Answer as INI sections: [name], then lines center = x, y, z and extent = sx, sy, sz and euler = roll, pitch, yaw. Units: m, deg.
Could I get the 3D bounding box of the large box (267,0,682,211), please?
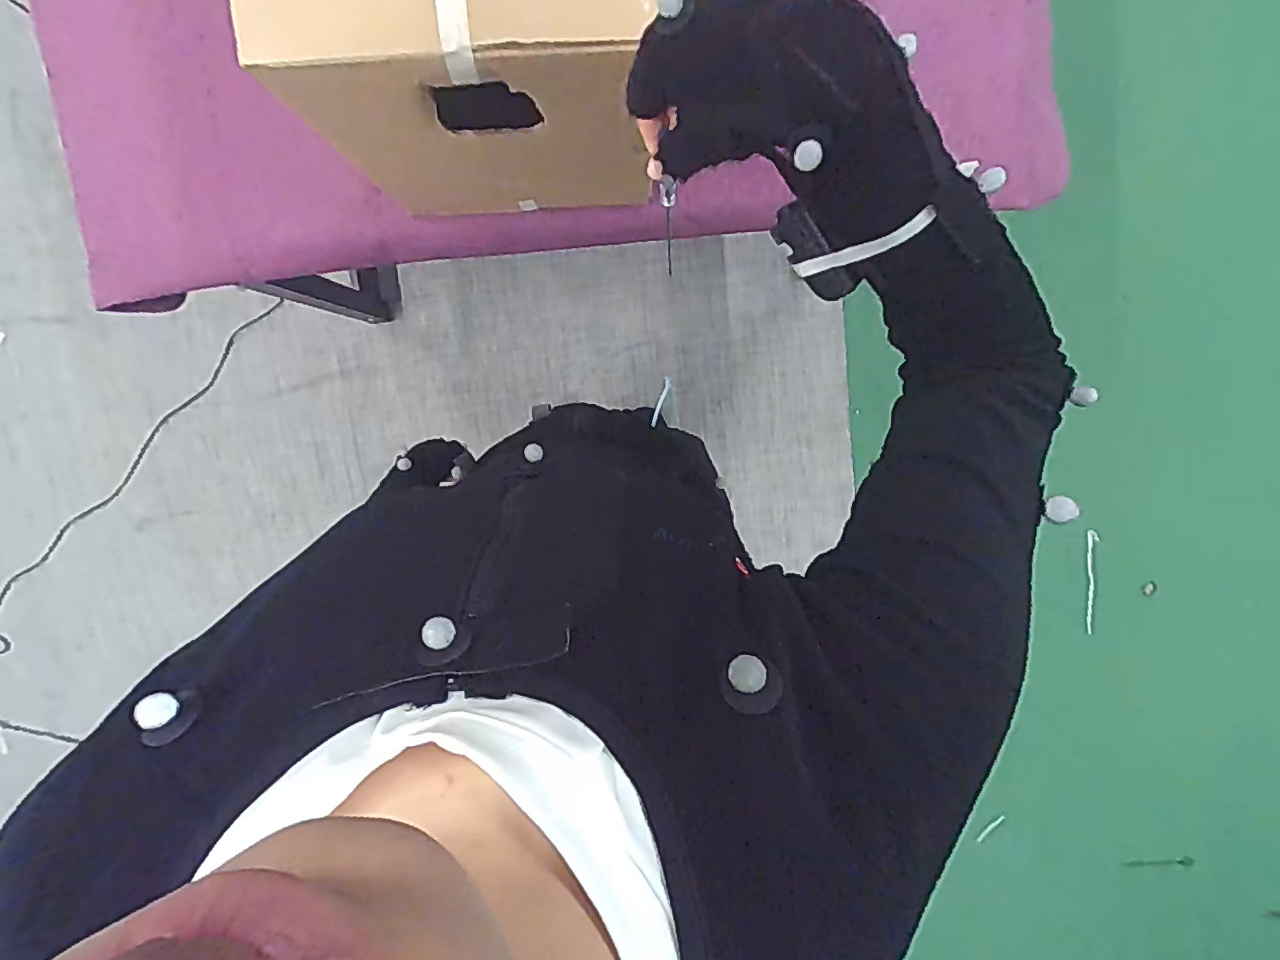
[large box]
center = -0.141, -0.528, 0.527
extent = 0.320, 0.320, 0.408
euler = -3, 99, -1
